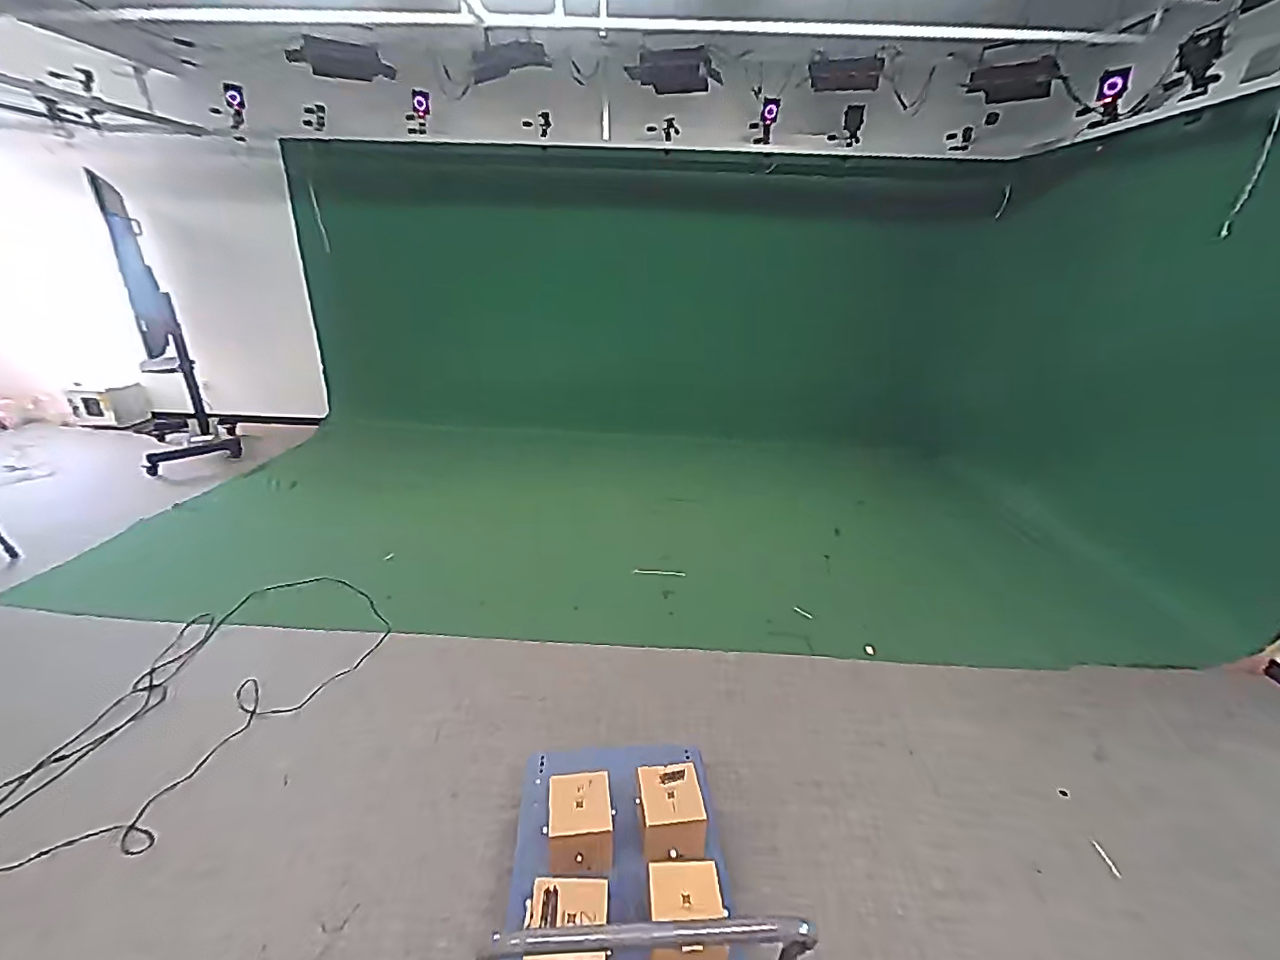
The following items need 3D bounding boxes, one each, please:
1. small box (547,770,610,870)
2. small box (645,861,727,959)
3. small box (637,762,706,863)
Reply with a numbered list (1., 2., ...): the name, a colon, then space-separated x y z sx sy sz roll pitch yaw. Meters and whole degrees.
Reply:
1. small box: -0.168 0.939 1.487 0.168 0.176 0.179 0 24 -8
2. small box: 0.101 1.043 1.277 0.168 0.176 0.179 1 24 -4
3. small box: 0.082 0.933 1.524 0.168 0.176 0.179 -2 25 -7
